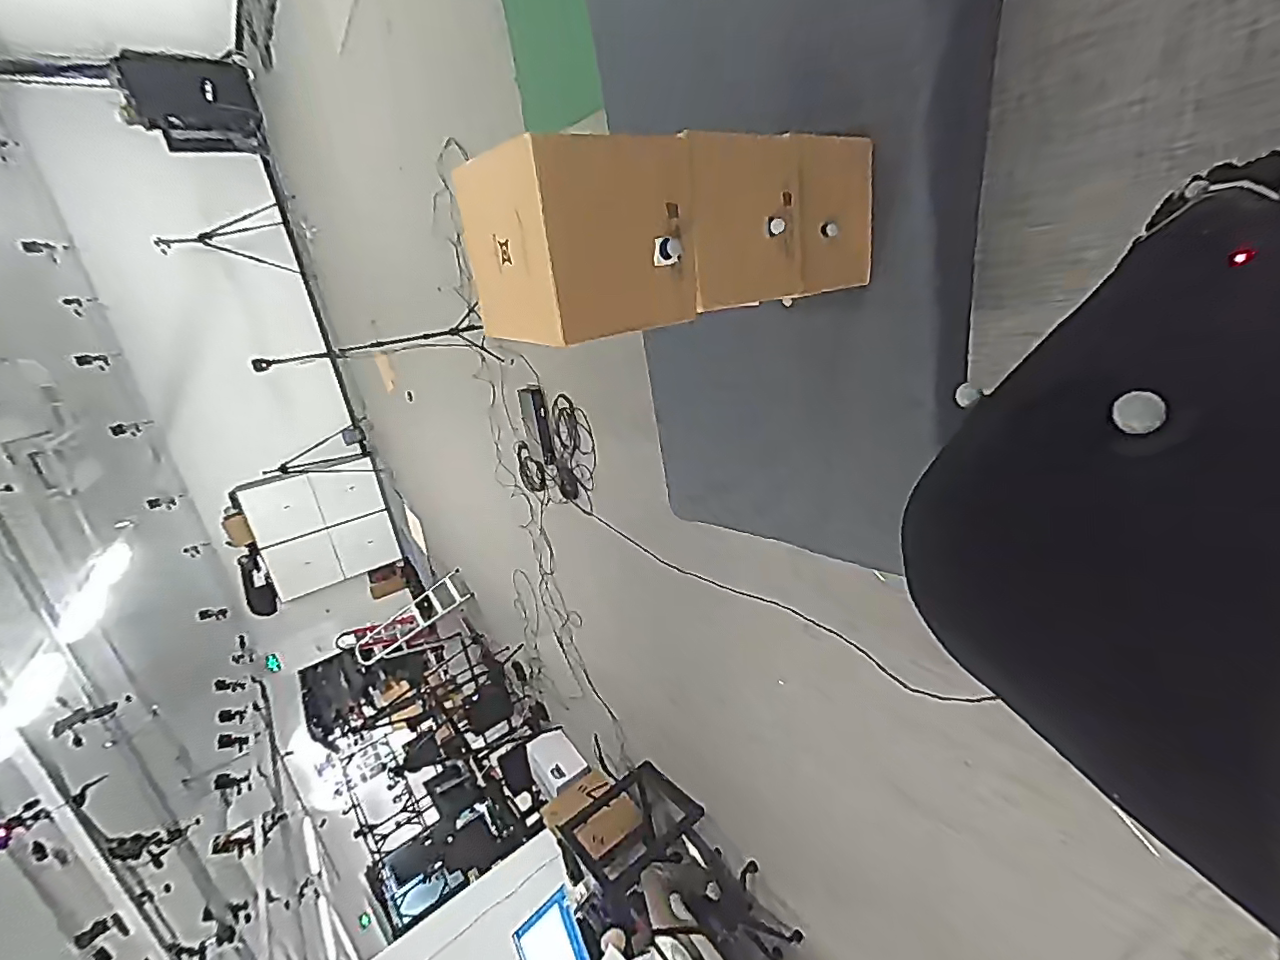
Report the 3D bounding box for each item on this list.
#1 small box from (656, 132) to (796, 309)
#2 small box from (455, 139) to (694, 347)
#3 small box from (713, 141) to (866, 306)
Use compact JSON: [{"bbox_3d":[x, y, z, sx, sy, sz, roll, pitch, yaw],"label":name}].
[{"bbox_3d":[0.062,-0.294,0.649,0.179,0.176,0.168,16,121,54],"label":"small box"},{"bbox_3d":[-0.065,-0.242,0.564,0.179,0.176,0.168,21,127,48],"label":"small box"},{"bbox_3d":[0.190,-0.345,0.738,0.168,0.176,0.179,18,124,51],"label":"small box"}]
